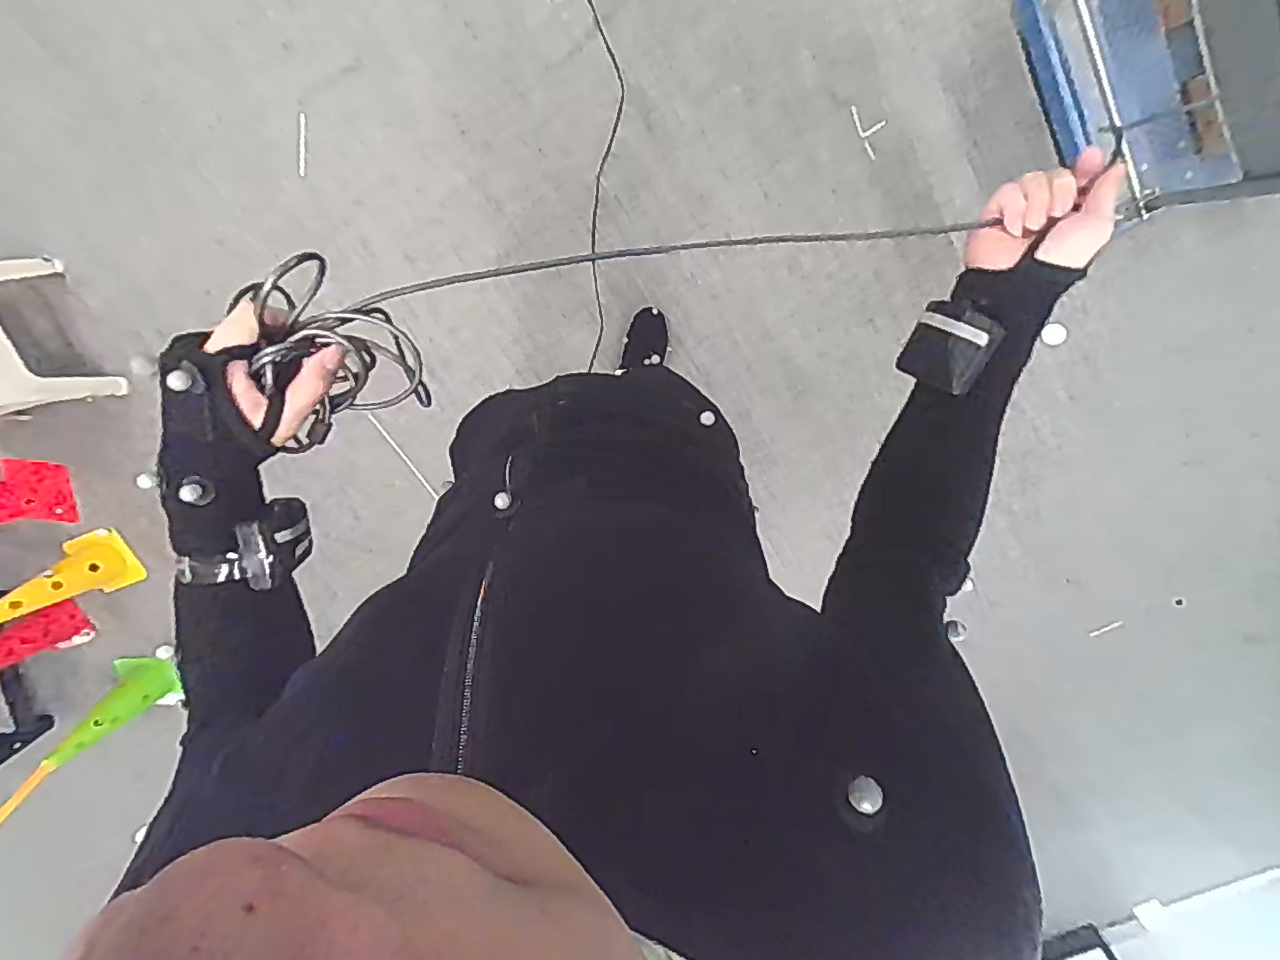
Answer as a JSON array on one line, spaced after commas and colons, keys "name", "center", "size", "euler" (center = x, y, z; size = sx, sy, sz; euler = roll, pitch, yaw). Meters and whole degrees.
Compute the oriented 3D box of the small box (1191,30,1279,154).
[{"name": "small box", "center": [1.265, -0.785, 1.064], "size": [0.179, 0.176, 0.168], "euler": [-29, 106, 12]}]
